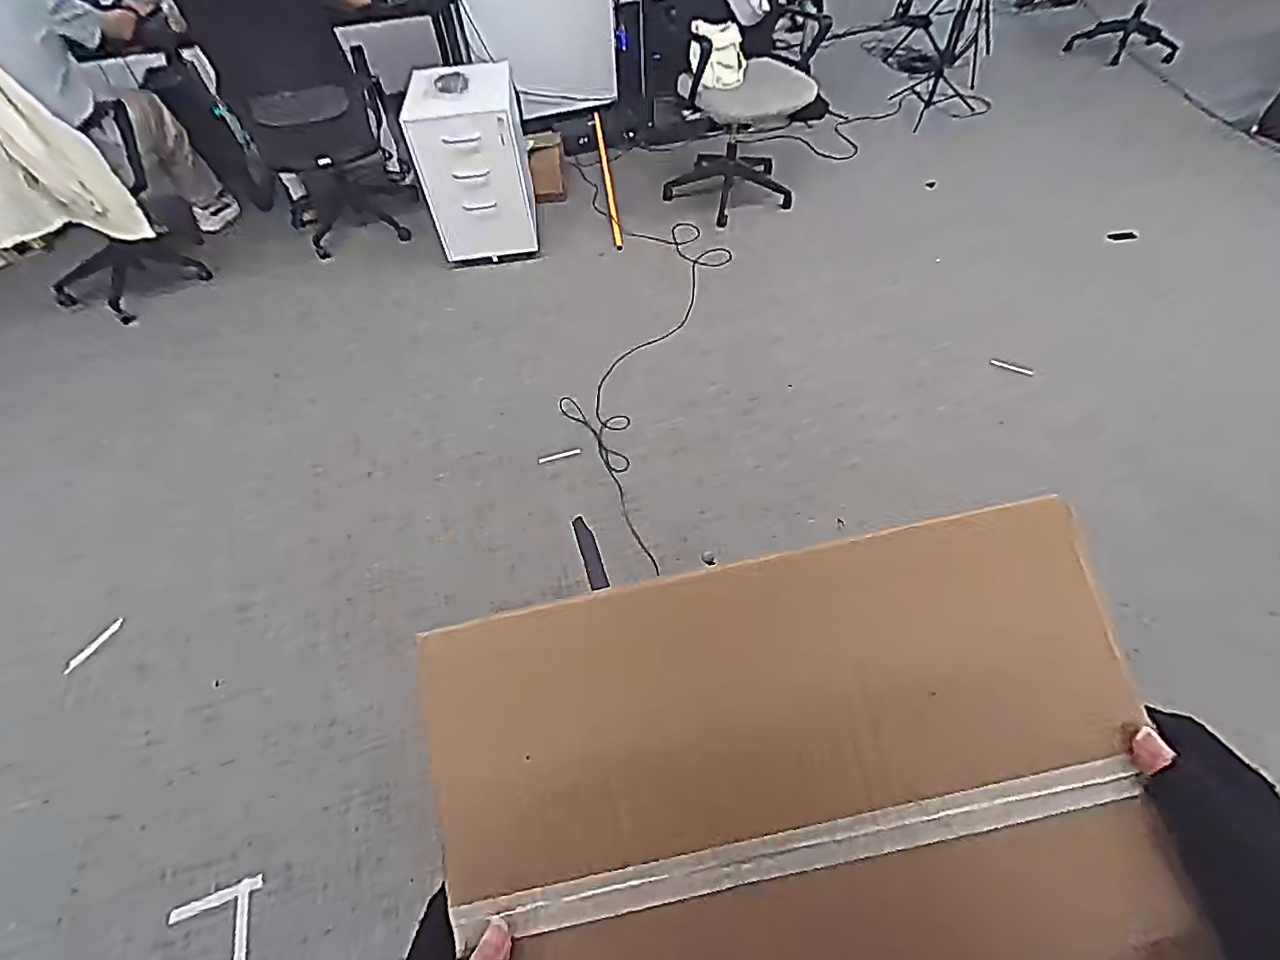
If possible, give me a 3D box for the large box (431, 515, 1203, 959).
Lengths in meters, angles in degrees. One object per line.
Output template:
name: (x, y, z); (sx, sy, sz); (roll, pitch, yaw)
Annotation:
large box: (0.101, 0.237, 0.459); (0.408, 0.320, 0.320); (-13, 79, 0)
